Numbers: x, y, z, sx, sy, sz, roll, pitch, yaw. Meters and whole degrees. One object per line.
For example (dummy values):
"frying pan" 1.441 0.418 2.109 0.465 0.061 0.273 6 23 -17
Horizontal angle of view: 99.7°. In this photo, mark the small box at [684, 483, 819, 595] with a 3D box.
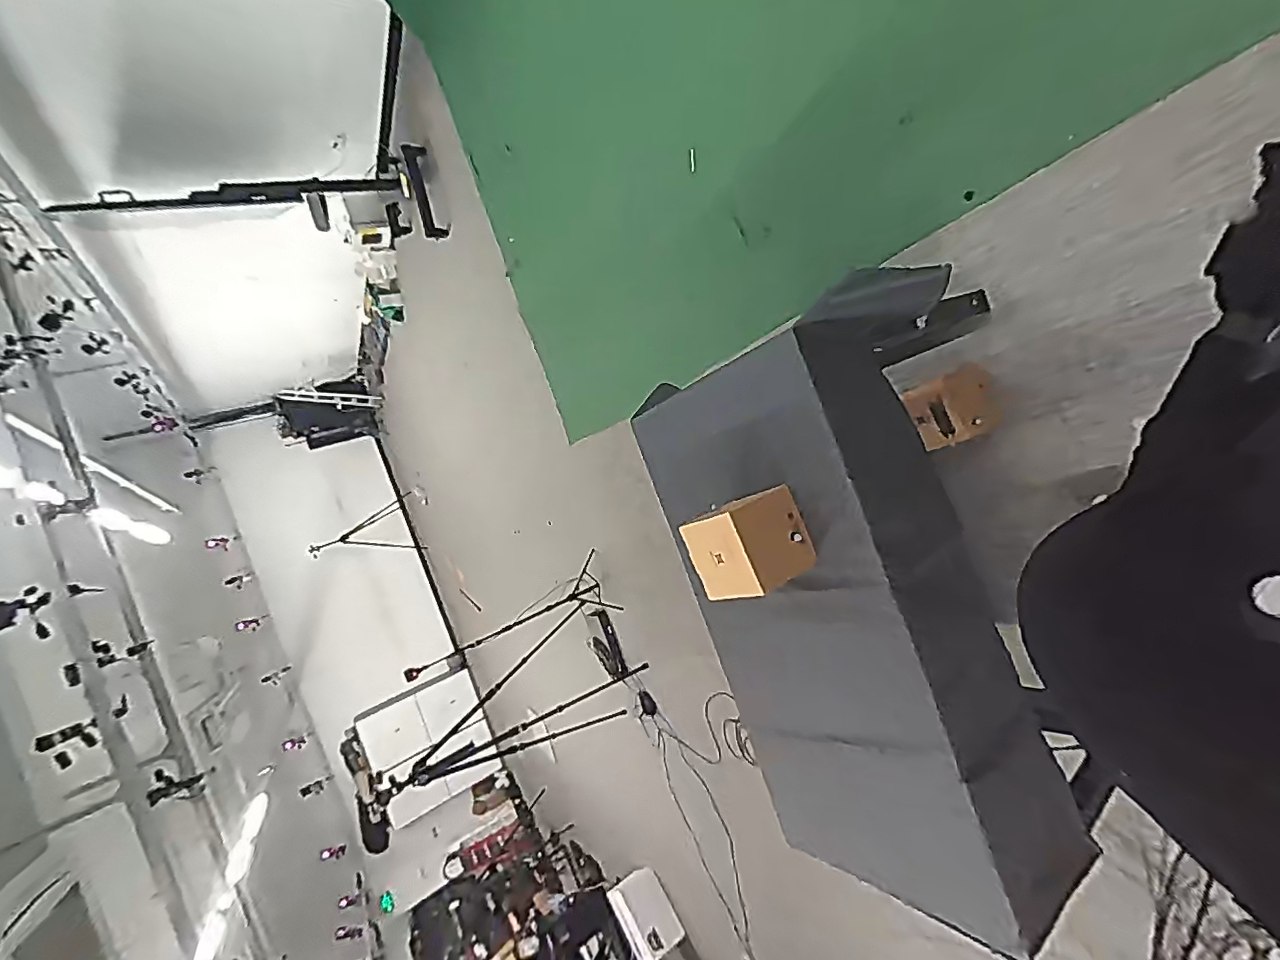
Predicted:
"small box" 0.225 0.122 1.097 0.179 0.176 0.168 -27 87 59
